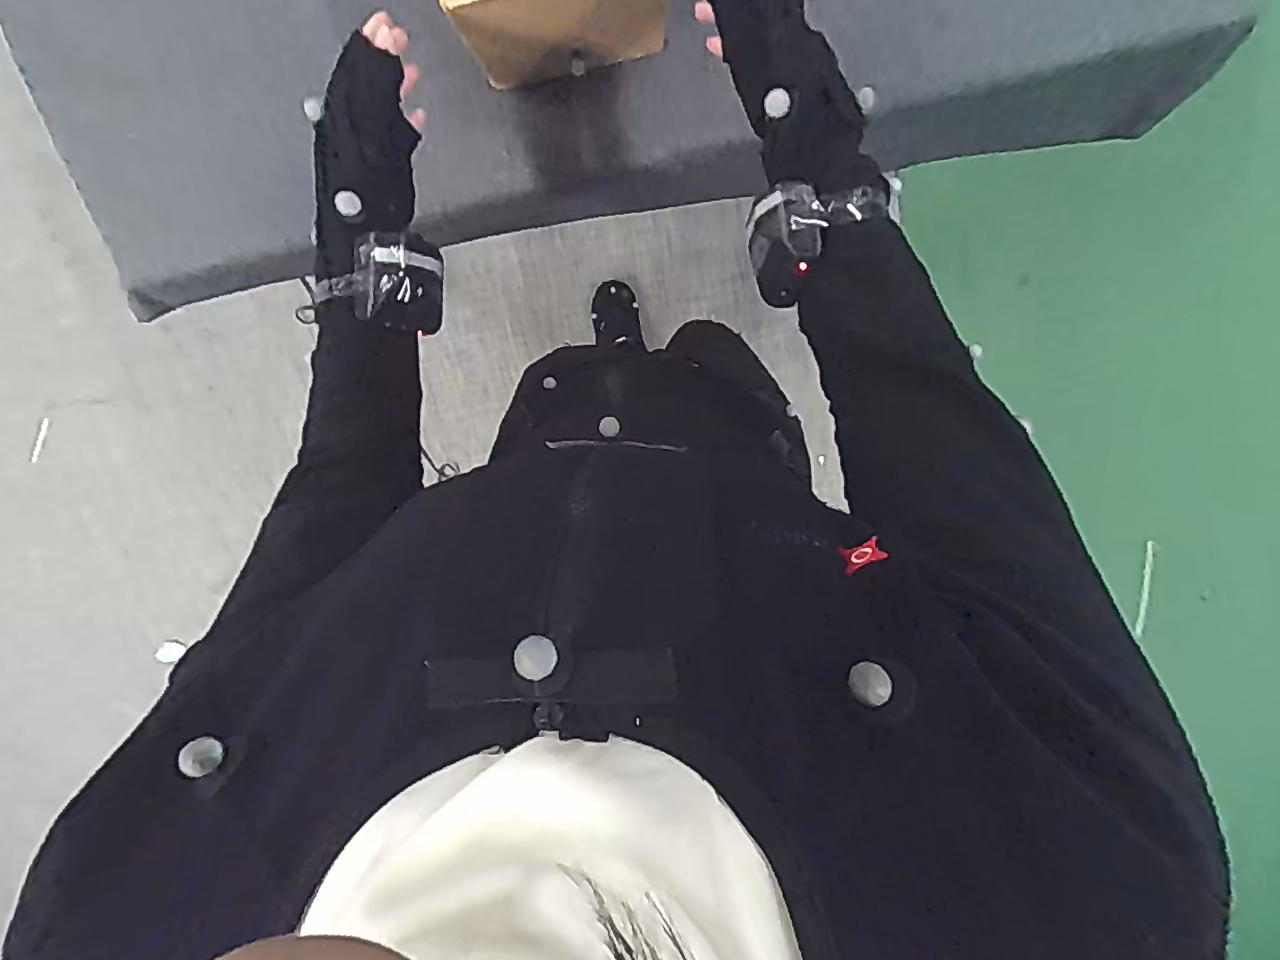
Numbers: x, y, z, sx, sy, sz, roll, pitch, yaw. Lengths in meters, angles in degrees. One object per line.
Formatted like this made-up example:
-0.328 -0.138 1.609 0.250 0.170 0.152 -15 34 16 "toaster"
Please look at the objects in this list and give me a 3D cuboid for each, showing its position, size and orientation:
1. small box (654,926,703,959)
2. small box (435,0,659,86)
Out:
0.148 1.792 1.998 0.179 0.176 0.168 -8 109 4 "small box"
-0.080 -0.461 0.444 0.179 0.176 0.168 -10 108 3 "small box"
